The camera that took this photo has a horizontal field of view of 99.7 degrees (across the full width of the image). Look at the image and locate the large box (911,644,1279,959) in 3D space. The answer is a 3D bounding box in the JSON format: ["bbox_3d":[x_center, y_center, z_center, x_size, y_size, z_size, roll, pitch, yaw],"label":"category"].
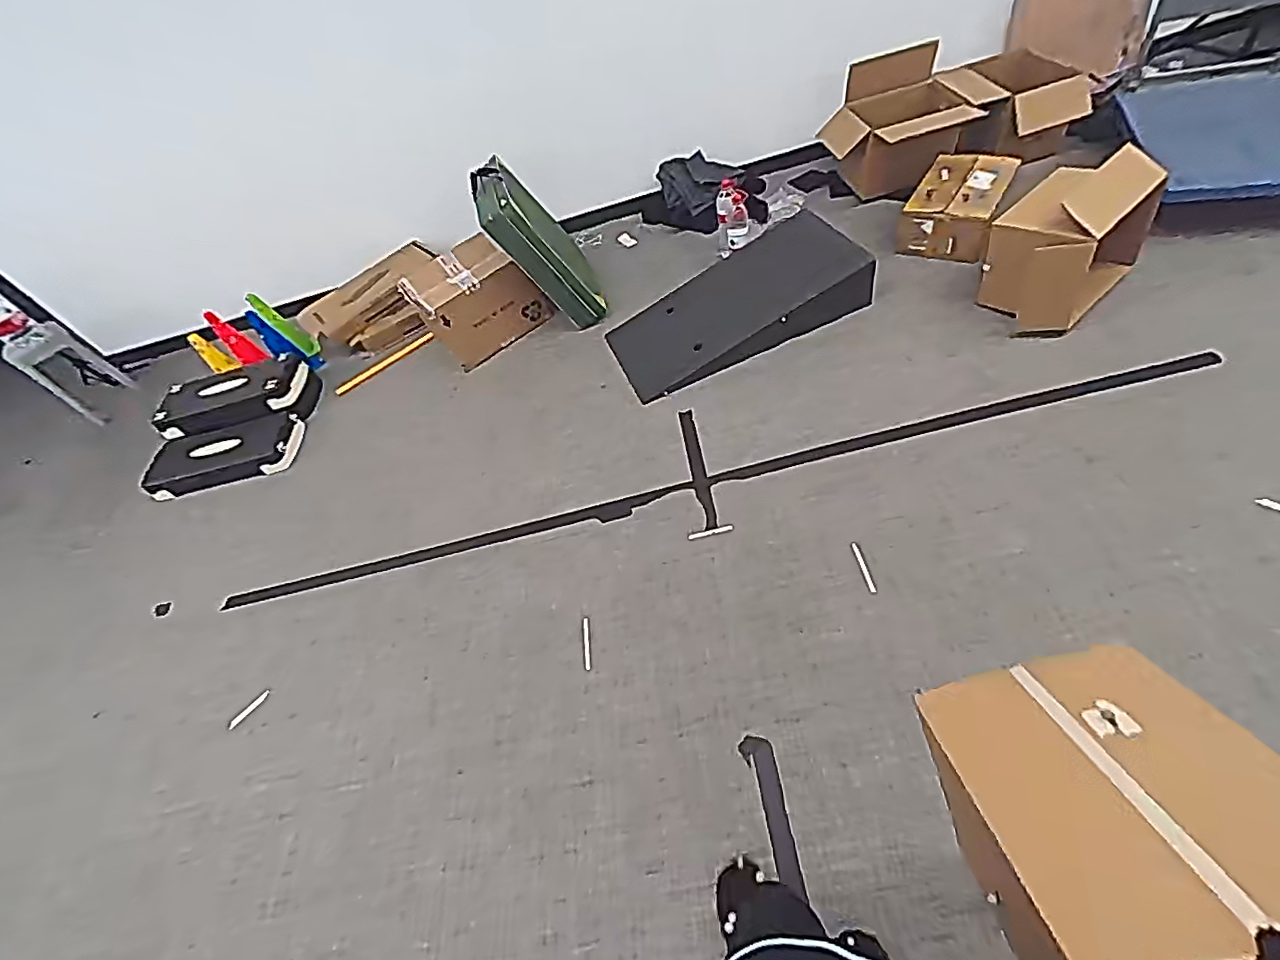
[{"bbox_3d":[0.620,0.488,0.691,0.320,0.320,0.408,-19,14,10],"label":"large box"}]
